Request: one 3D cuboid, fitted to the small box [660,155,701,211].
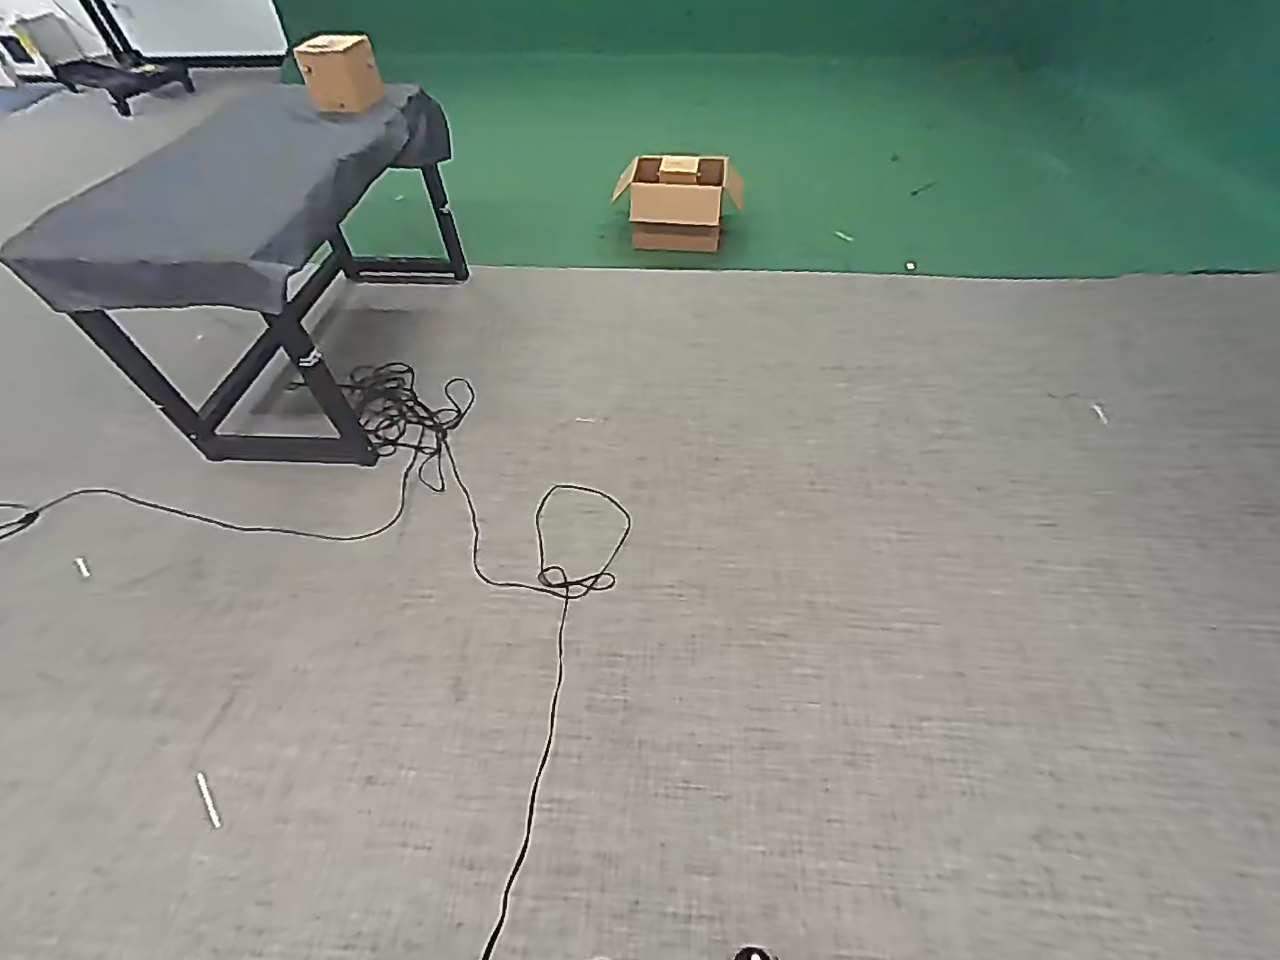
[{"bbox_3d":[0.184,-1.356,2.469,0.168,0.176,0.179,6,51,5],"label":"small box"}]
